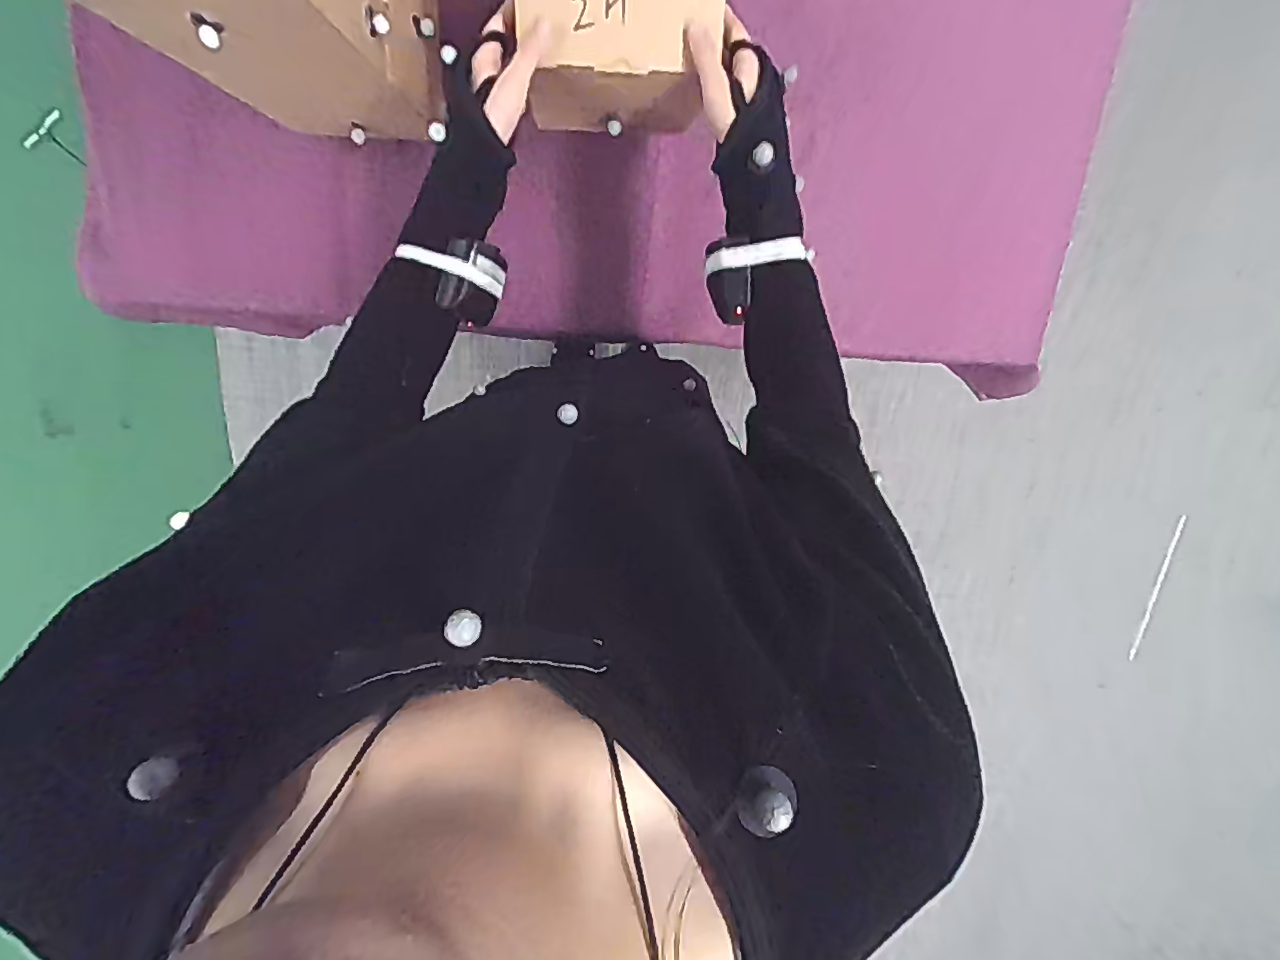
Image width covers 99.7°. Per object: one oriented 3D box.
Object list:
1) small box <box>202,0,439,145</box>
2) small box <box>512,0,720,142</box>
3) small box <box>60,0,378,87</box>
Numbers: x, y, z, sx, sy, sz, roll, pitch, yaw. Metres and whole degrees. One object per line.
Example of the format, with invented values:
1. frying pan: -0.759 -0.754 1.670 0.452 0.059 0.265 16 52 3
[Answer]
1. small box: -0.318 -0.465 0.557 0.179 0.176 0.168 1 106 -3
2. small box: -0.023 -0.430 0.486 0.168 0.176 0.179 1 110 -5
3. small box: -0.312 -0.419 0.397 0.179 0.176 0.168 2 106 -1
